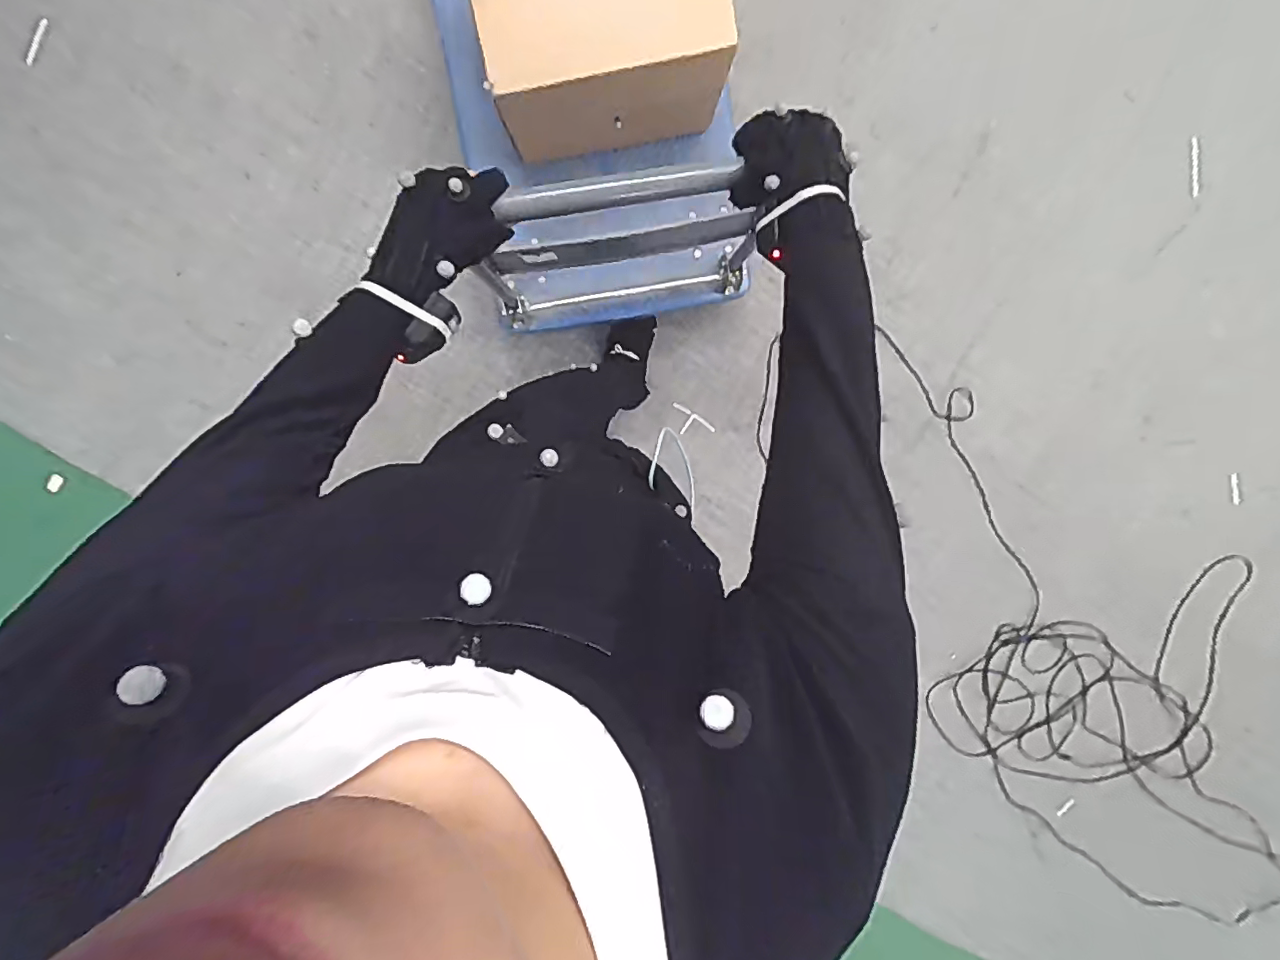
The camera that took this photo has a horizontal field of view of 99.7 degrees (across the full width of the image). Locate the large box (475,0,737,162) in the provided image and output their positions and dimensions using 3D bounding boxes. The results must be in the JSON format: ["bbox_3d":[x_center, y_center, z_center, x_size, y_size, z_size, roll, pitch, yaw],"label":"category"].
[{"bbox_3d":[-0.070,-0.835,0.984,0.408,0.320,0.320,-12,101,1],"label":"large box"}]
